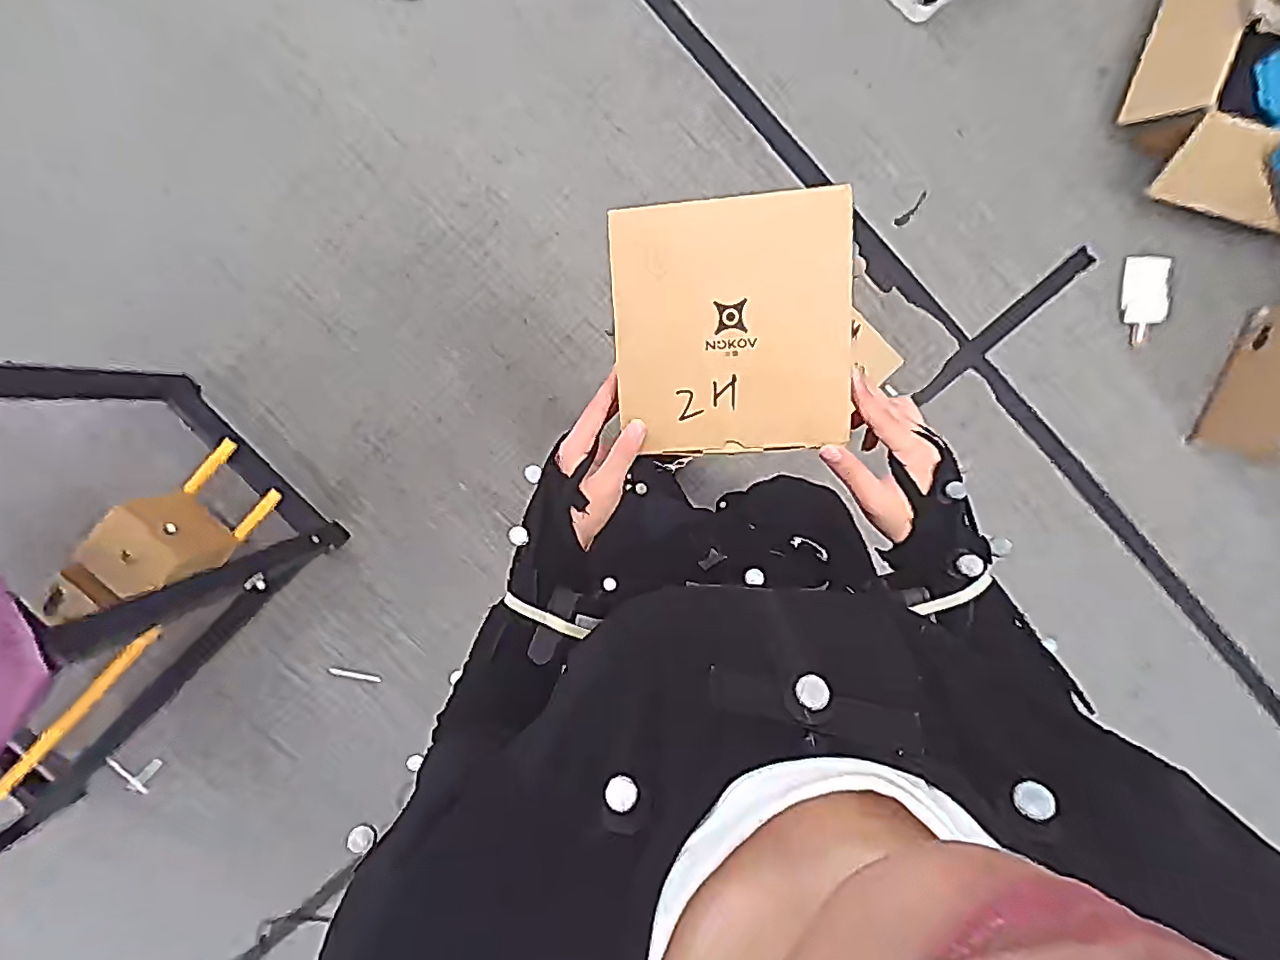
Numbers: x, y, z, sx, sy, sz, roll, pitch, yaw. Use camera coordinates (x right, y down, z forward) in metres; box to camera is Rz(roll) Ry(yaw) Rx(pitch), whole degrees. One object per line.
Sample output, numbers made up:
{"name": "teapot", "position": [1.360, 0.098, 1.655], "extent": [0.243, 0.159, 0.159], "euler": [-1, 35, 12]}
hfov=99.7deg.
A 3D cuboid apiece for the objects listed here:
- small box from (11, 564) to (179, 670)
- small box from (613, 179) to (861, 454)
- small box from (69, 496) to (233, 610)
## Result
{"name": "small box", "position": [-1.237, 0.290, 1.241], "extent": [0.168, 0.176, 0.179], "euler": [-43, 97, 8]}
{"name": "small box", "position": [0.076, -0.118, 0.447], "extent": [0.168, 0.176, 0.179], "euler": [-2, 100, 9]}
{"name": "small box", "position": [-1.084, 0.152, 1.214], "extent": [0.168, 0.176, 0.179], "euler": [-43, 96, 8]}
